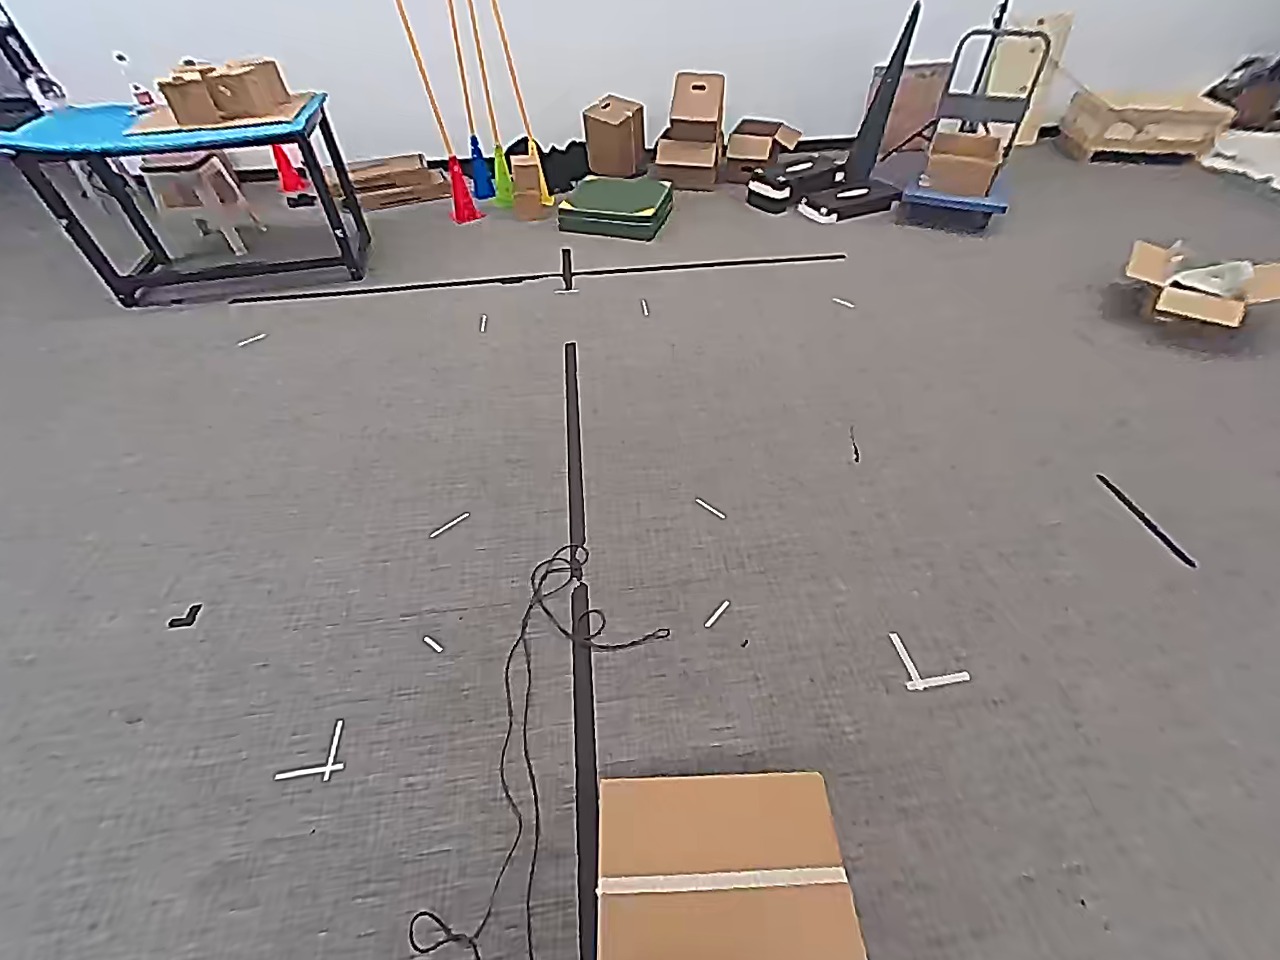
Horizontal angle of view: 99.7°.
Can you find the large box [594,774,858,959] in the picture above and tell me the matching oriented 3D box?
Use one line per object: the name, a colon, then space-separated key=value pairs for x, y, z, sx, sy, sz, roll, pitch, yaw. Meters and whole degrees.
large box: x=0.128 y=0.759 z=0.986 sx=0.408 sy=0.320 sz=0.320 roll=-1 pitch=45 yaw=-1
